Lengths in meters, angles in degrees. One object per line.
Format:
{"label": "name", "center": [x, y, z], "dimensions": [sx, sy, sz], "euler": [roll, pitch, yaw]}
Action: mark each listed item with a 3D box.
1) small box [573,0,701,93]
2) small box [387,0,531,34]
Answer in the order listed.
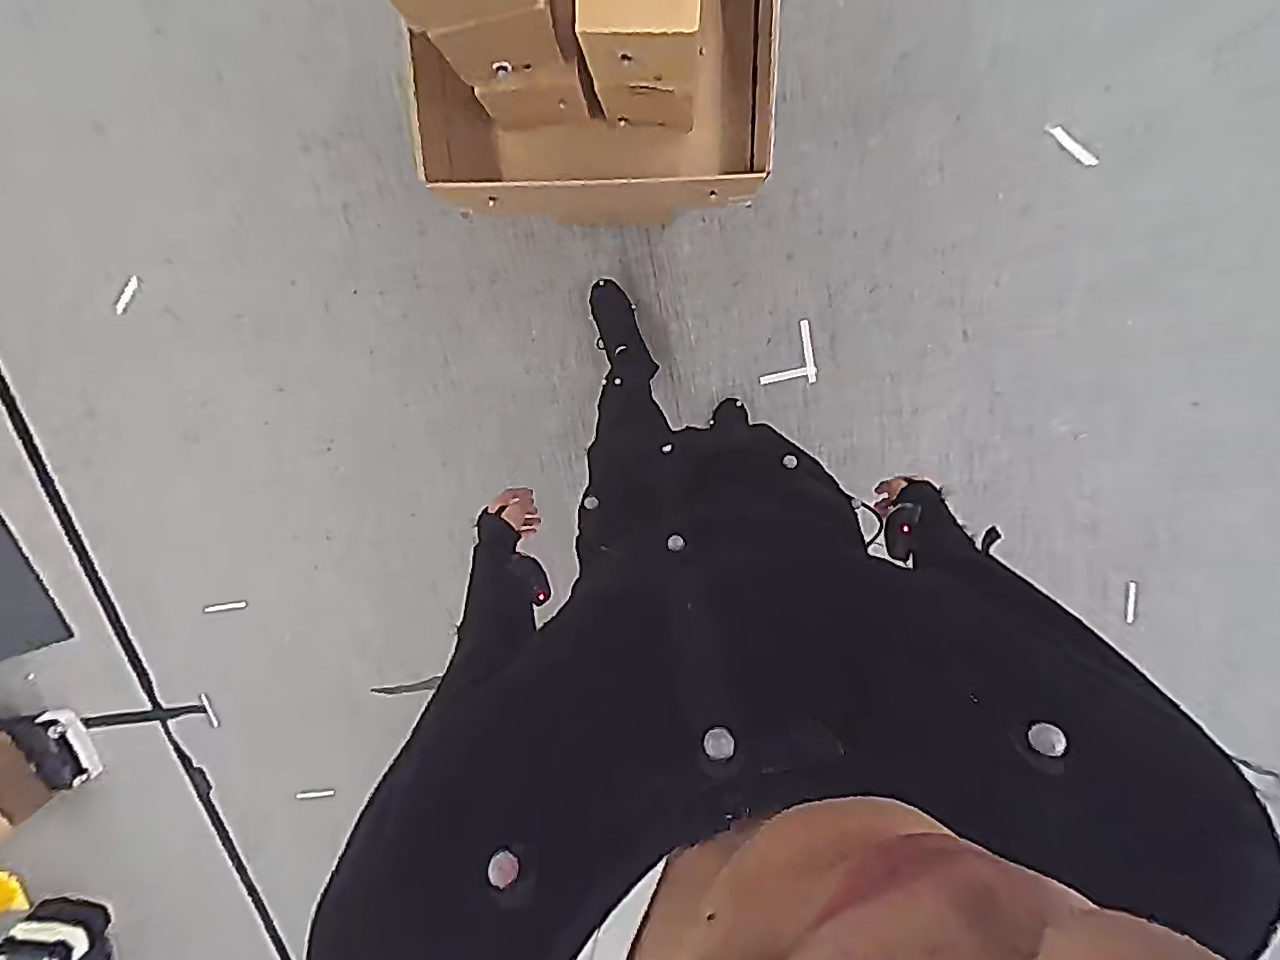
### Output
{"label": "small box", "center": [0.003, -0.683, 0.771], "dimensions": [0.168, 0.176, 0.179], "euler": [4, 104, 4]}
{"label": "small box", "center": [-0.237, -0.659, 0.620], "dimensions": [0.179, 0.176, 0.168], "euler": [-9, 104, 5]}
